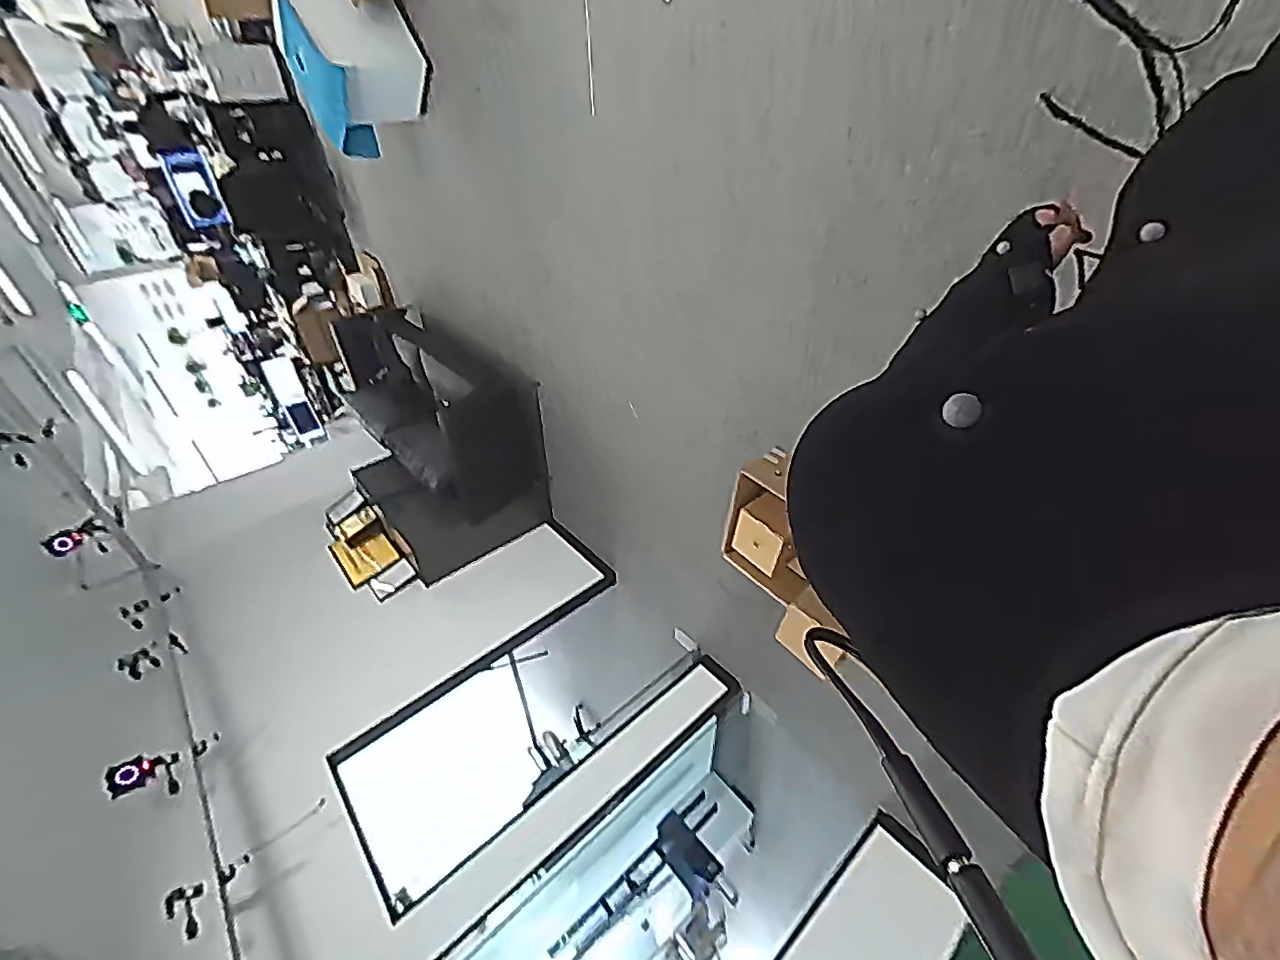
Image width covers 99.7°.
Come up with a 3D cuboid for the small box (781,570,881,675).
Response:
[{"bbox_3d":[0.510,0.377,1.445,0.168,0.176,0.179,40,143,31],"label":"small box"}]
